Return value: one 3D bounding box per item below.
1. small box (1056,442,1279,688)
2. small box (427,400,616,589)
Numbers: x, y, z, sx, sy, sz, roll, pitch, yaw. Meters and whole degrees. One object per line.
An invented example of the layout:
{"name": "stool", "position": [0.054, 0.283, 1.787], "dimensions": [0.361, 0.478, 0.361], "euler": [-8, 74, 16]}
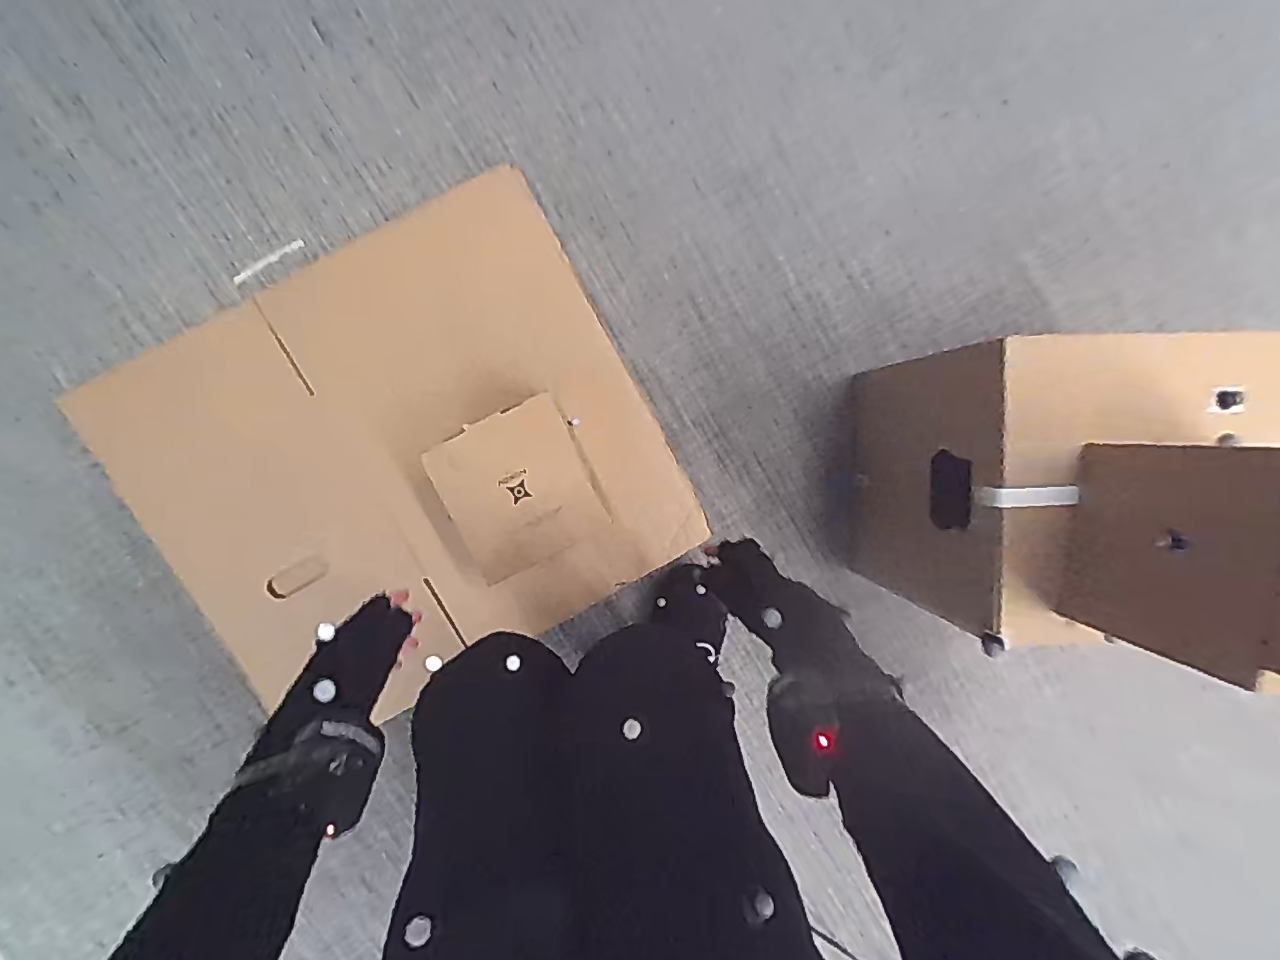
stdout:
{"name": "small box", "position": [0.506, 0.062, 0.464], "dimensions": [0.168, 0.176, 0.179], "euler": [5, 93, -5]}
{"name": "small box", "position": [-0.144, 0.014, 0.710], "dimensions": [0.168, 0.176, 0.179], "euler": [-28, 95, -1]}
